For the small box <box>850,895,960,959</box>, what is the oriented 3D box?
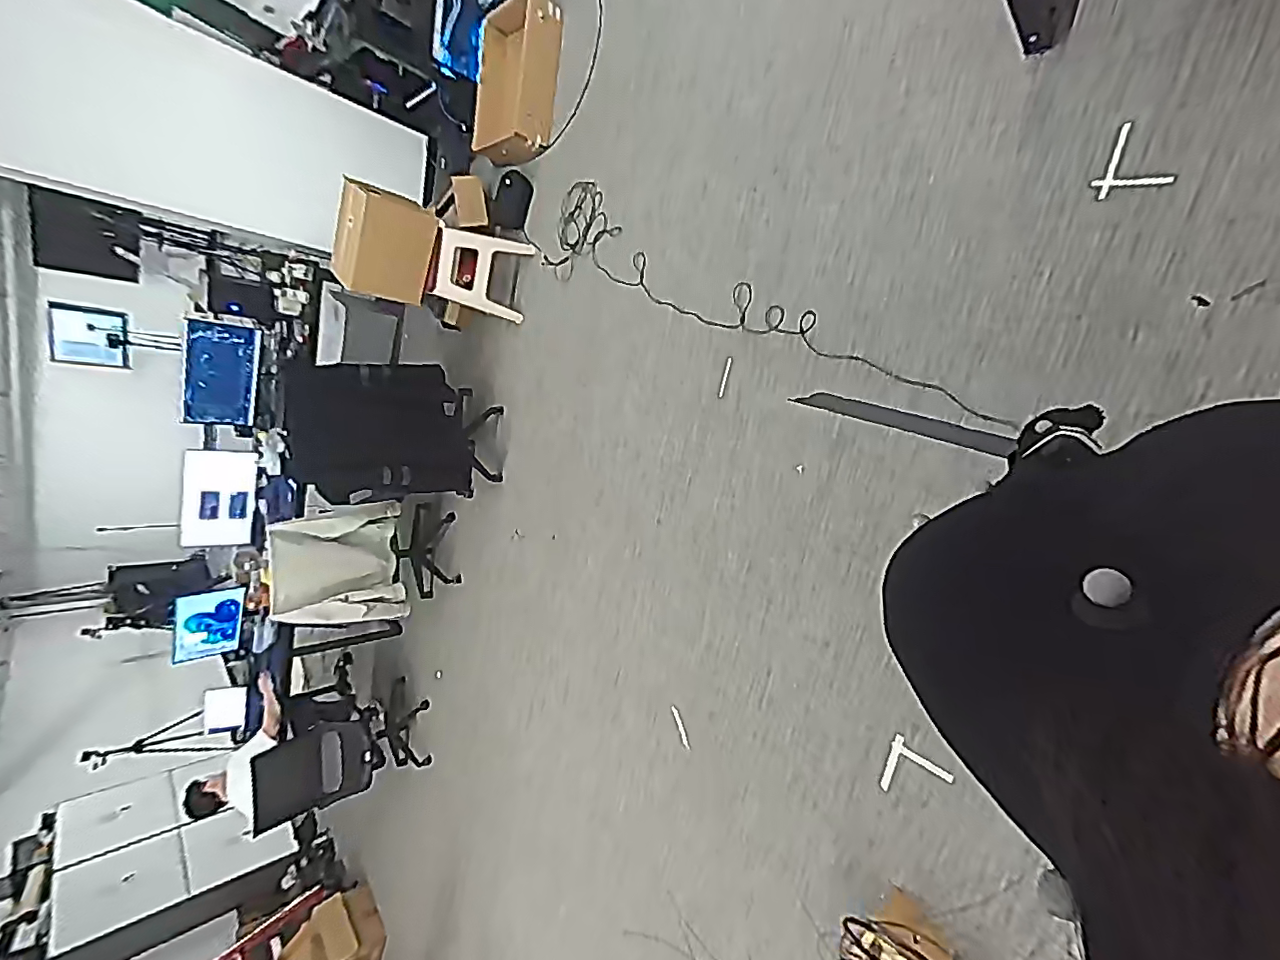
[{"bbox_3d":[0.698,1.243,1.421,0.179,0.176,0.168,38,116,37],"label":"small box"}]
